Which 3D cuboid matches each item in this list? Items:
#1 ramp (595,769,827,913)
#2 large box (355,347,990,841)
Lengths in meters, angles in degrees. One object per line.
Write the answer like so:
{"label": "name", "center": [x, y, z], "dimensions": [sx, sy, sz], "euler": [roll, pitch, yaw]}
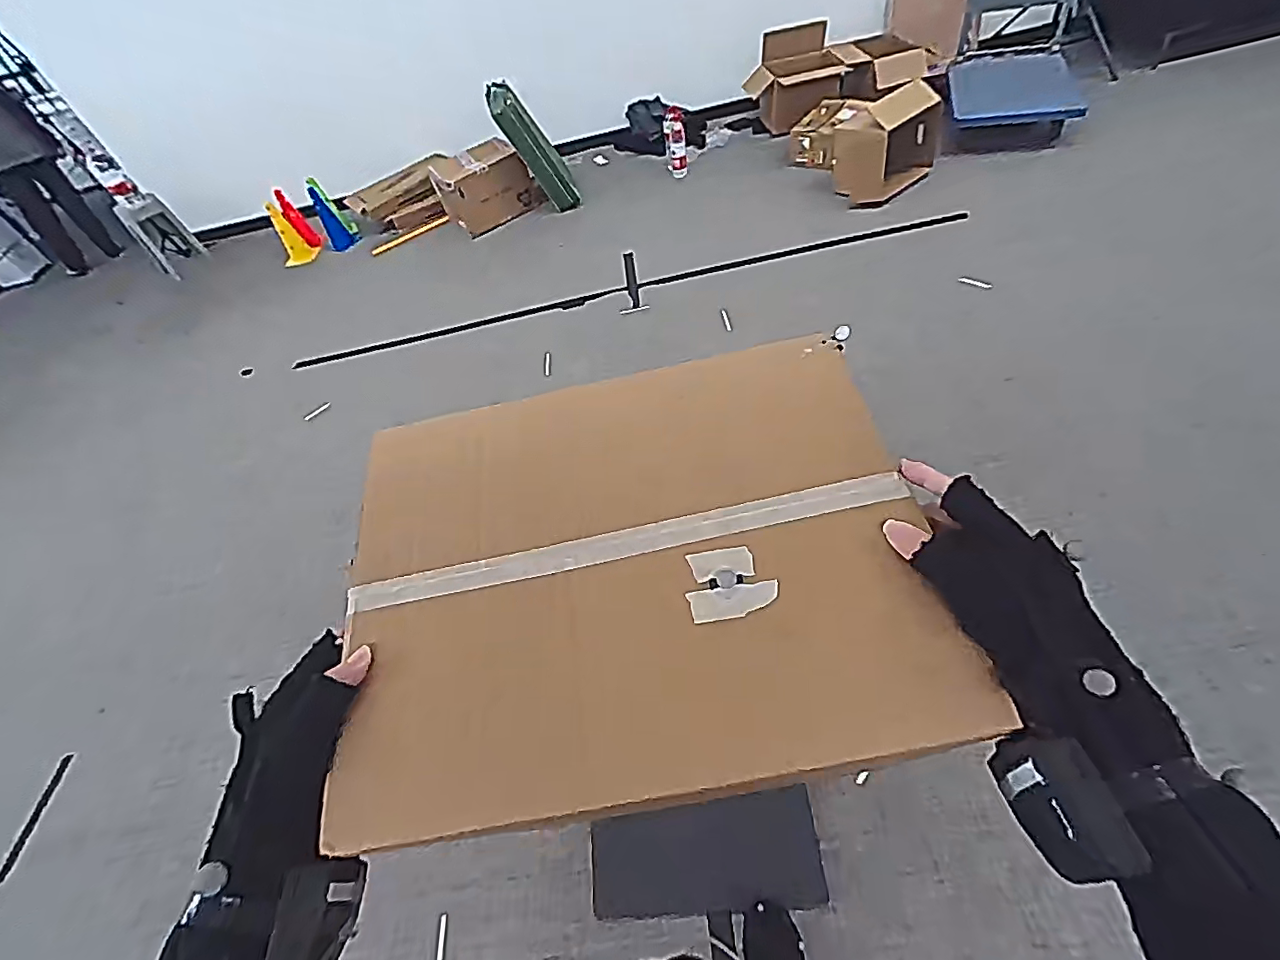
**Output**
{"label": "ramp", "center": [0.111, 0.455, 1.370], "dimensions": [0.509, 0.206, 0.991], "euler": [-10, 51, 5]}
{"label": "large box", "center": [0.012, 0.128, 0.529], "dimensions": [0.408, 0.320, 0.320], "euler": [-12, 59, 2]}
